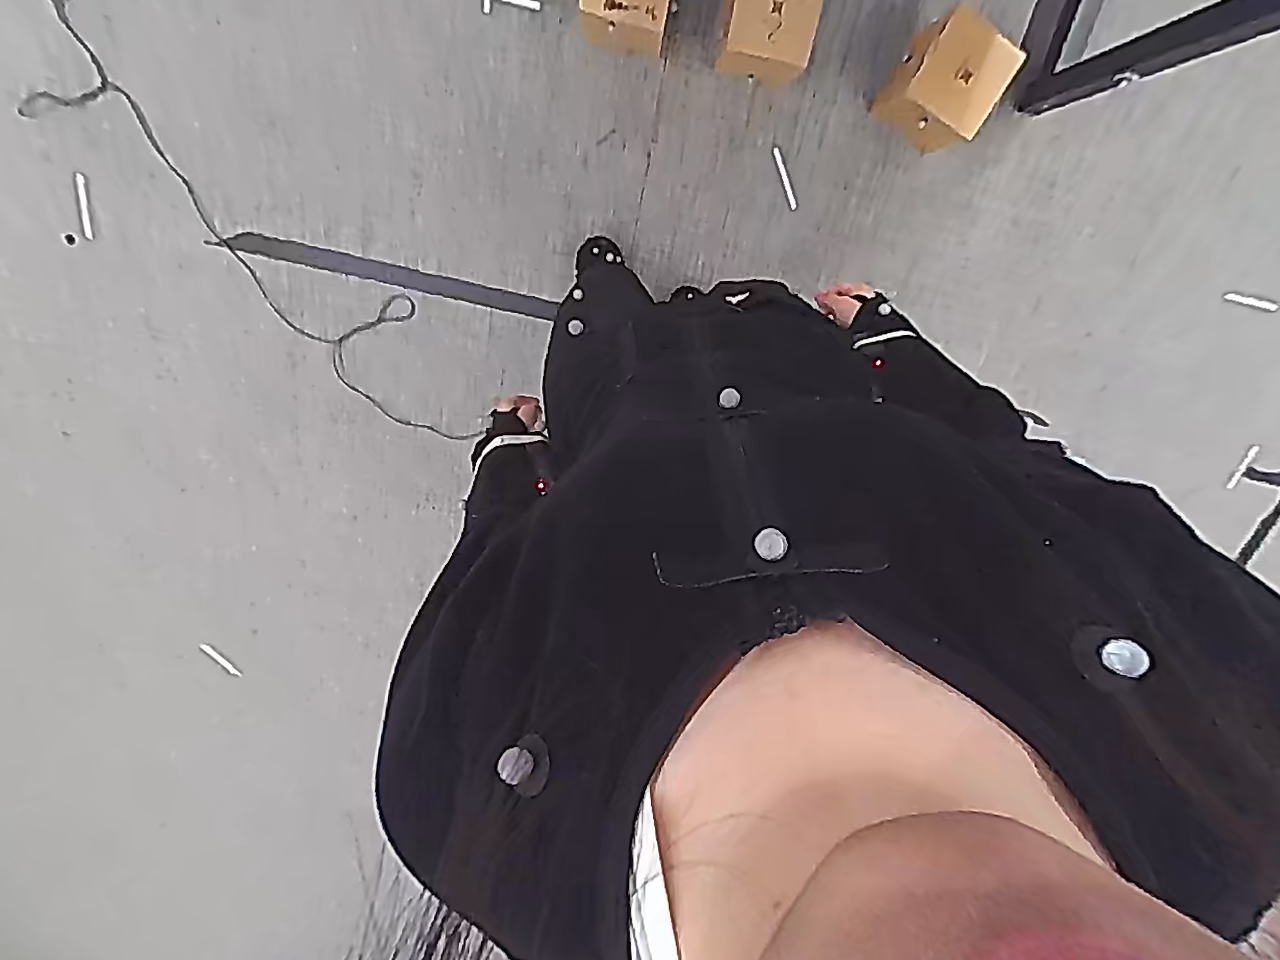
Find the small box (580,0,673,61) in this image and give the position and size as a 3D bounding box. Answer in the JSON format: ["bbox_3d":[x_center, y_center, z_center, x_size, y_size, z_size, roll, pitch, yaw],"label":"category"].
[{"bbox_3d":[-0.017,-0.971,1.058,0.168,0.176,0.179,12,110,-6],"label":"small box"}]

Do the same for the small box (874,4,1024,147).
[{"bbox_3d":[0.636,-0.831,1.136,0.179,0.176,0.168,27,110,-11],"label":"small box"}]
